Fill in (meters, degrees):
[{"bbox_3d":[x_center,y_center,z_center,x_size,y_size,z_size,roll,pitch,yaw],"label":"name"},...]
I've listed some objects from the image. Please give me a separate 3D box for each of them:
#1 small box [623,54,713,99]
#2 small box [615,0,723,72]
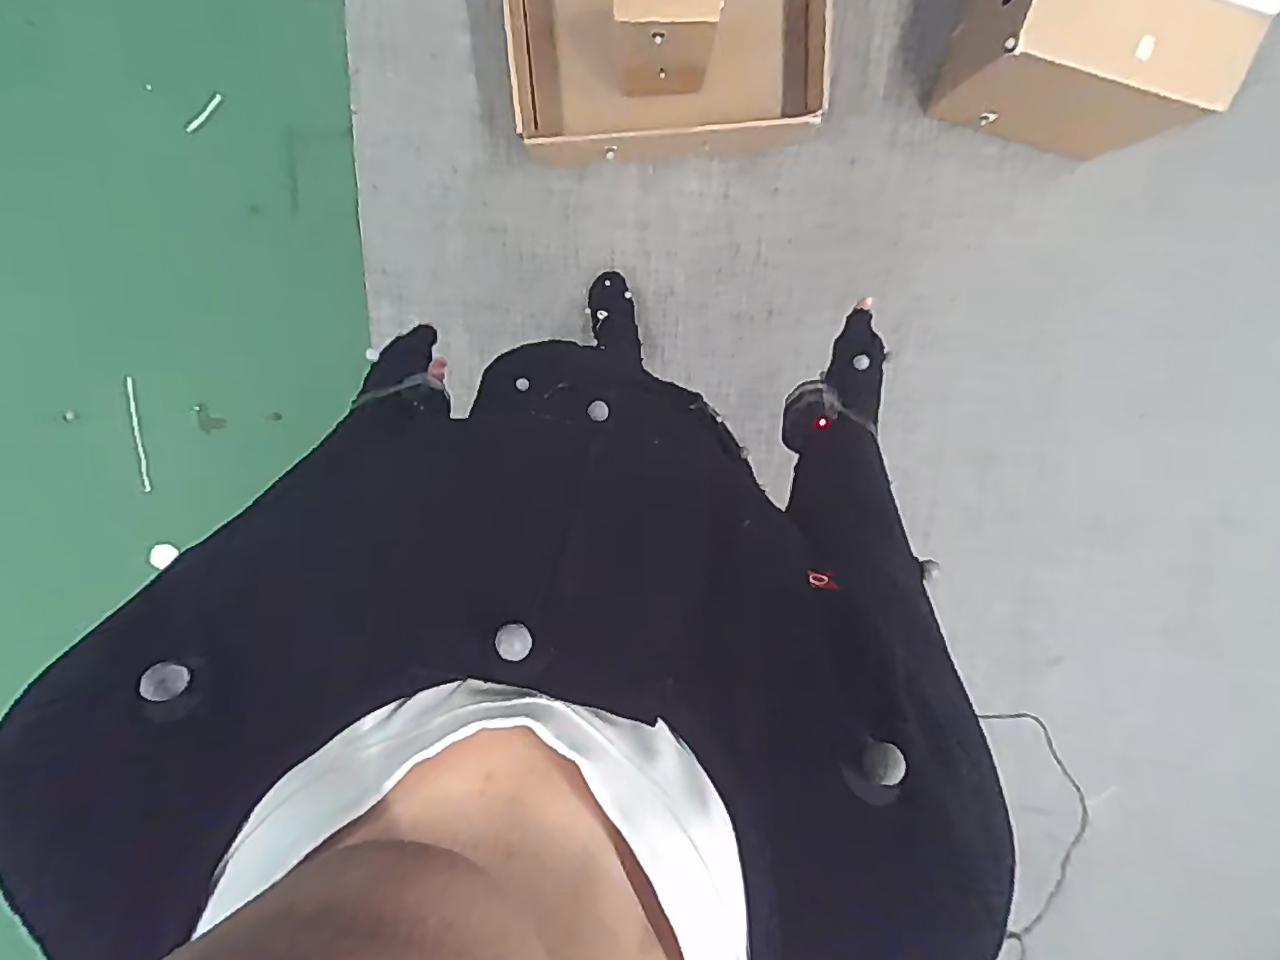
[{"bbox_3d":[0.051,-0.892,1.085,0.179,0.176,0.168,-2,107,0],"label":"small box"},{"bbox_3d":[0.049,-0.833,0.930,0.179,0.176,0.168,0,107,0],"label":"small box"}]
